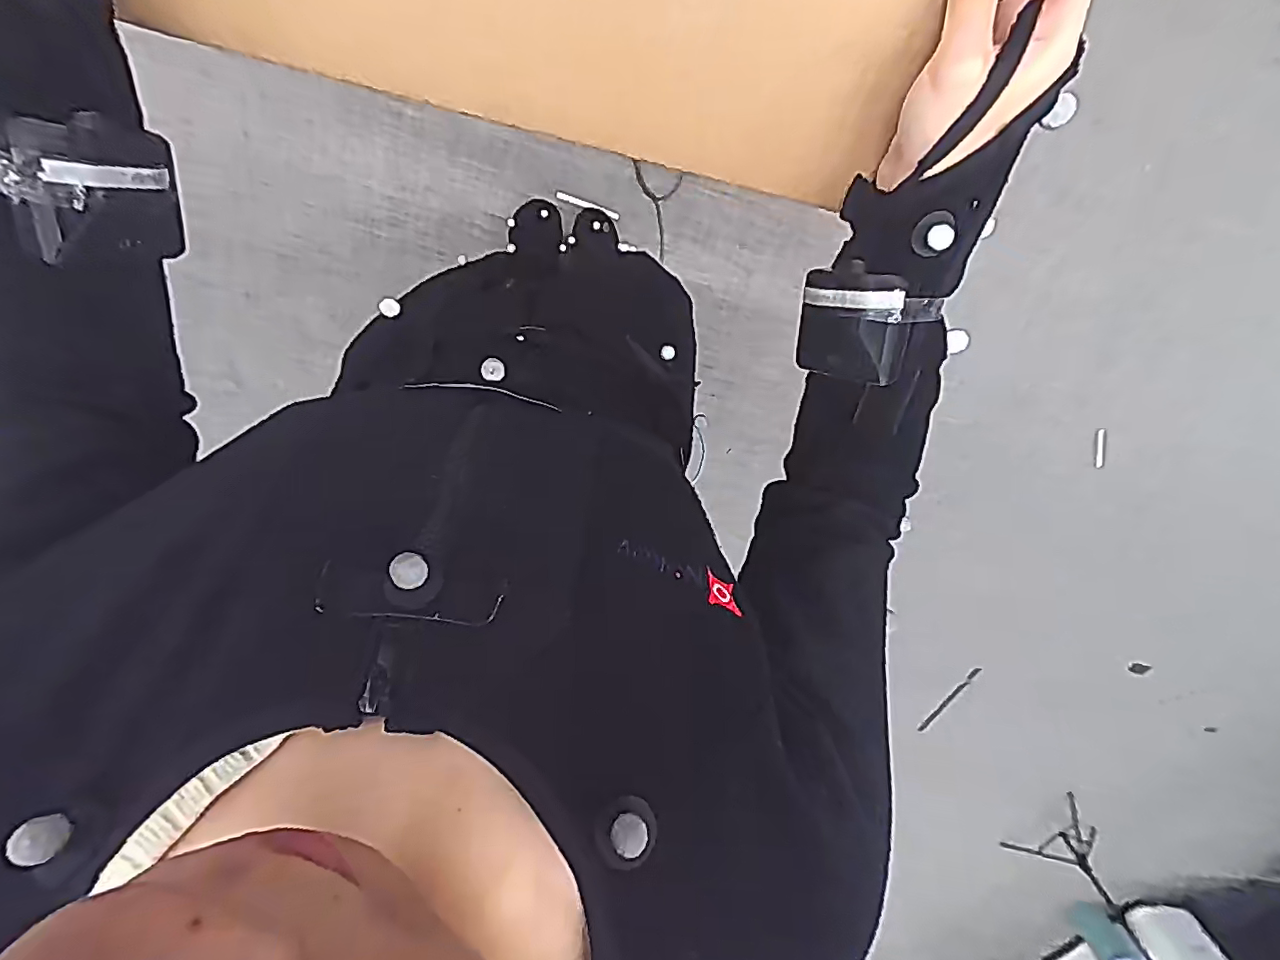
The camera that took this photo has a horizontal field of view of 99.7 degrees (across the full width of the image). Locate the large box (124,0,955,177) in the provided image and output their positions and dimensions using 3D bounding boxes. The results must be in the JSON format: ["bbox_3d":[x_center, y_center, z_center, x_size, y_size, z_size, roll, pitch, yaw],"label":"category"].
[{"bbox_3d":[-0.028,-0.413,0.257,0.408,0.320,0.320,8,146,-10],"label":"large box"}]
